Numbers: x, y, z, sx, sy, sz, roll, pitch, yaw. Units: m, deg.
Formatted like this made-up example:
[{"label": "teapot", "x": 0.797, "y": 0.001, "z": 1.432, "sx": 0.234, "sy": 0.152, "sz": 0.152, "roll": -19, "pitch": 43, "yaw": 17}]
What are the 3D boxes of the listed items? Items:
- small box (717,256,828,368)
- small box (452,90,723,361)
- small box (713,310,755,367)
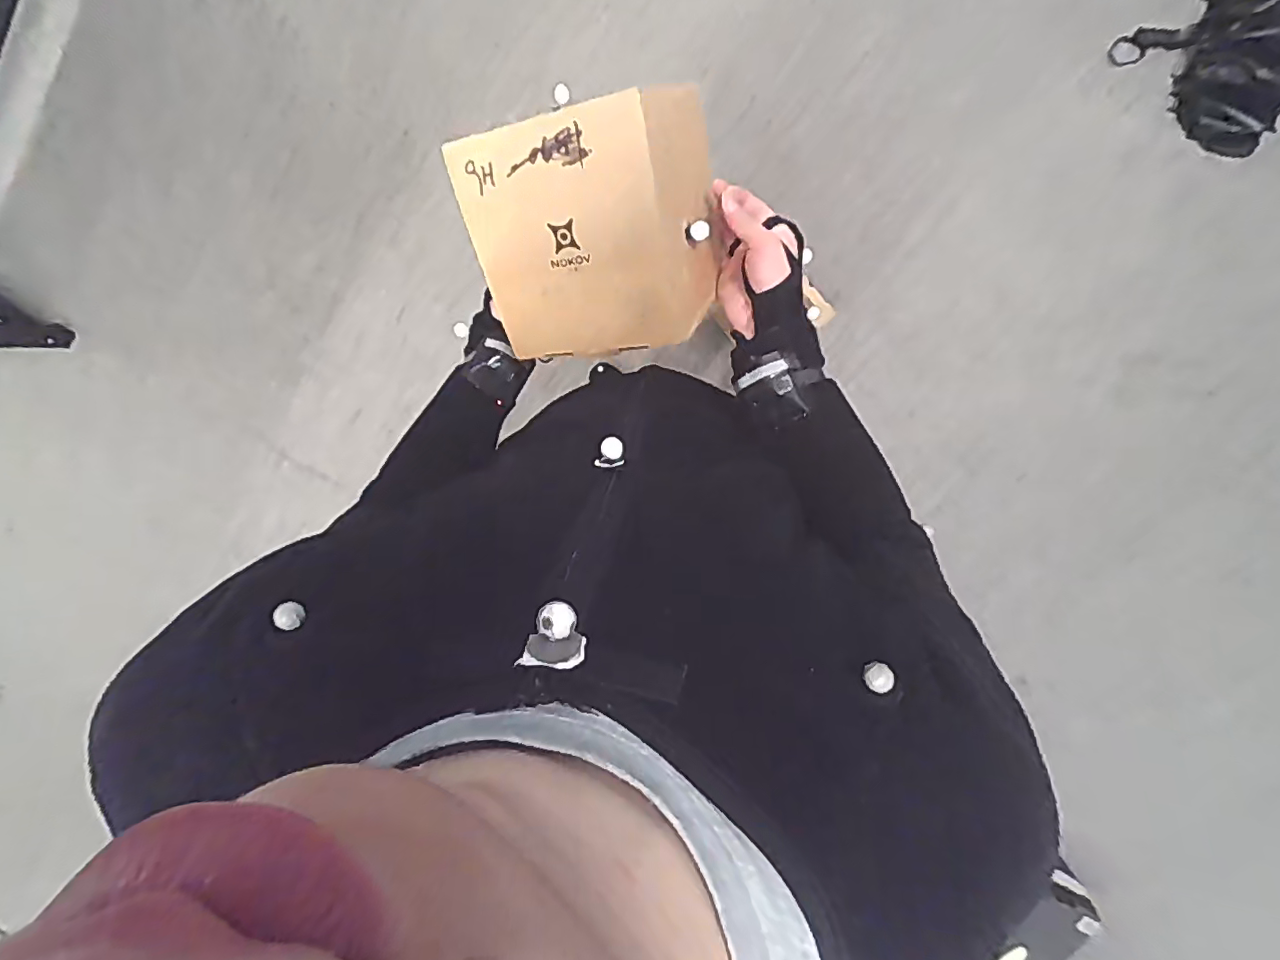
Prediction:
[{"label": "small box", "x": 0.291, "y": -0.374, "z": 1.231, "sx": 0.179, "sy": 0.176, "sz": 0.168, "roll": -38, "pitch": 97, "yaw": 12}, {"label": "small box", "x": -0.028, "y": -0.228, "z": 0.493, "sx": 0.168, "sy": 0.176, "sz": 0.179, "roll": 0, "pitch": 127, "yaw": 22}, {"label": "small box", "x": 0.301, "y": -0.411, "z": 1.391, "sx": 0.179, "sy": 0.176, "sz": 0.168, "roll": -39, "pitch": 97, "yaw": 12}]
